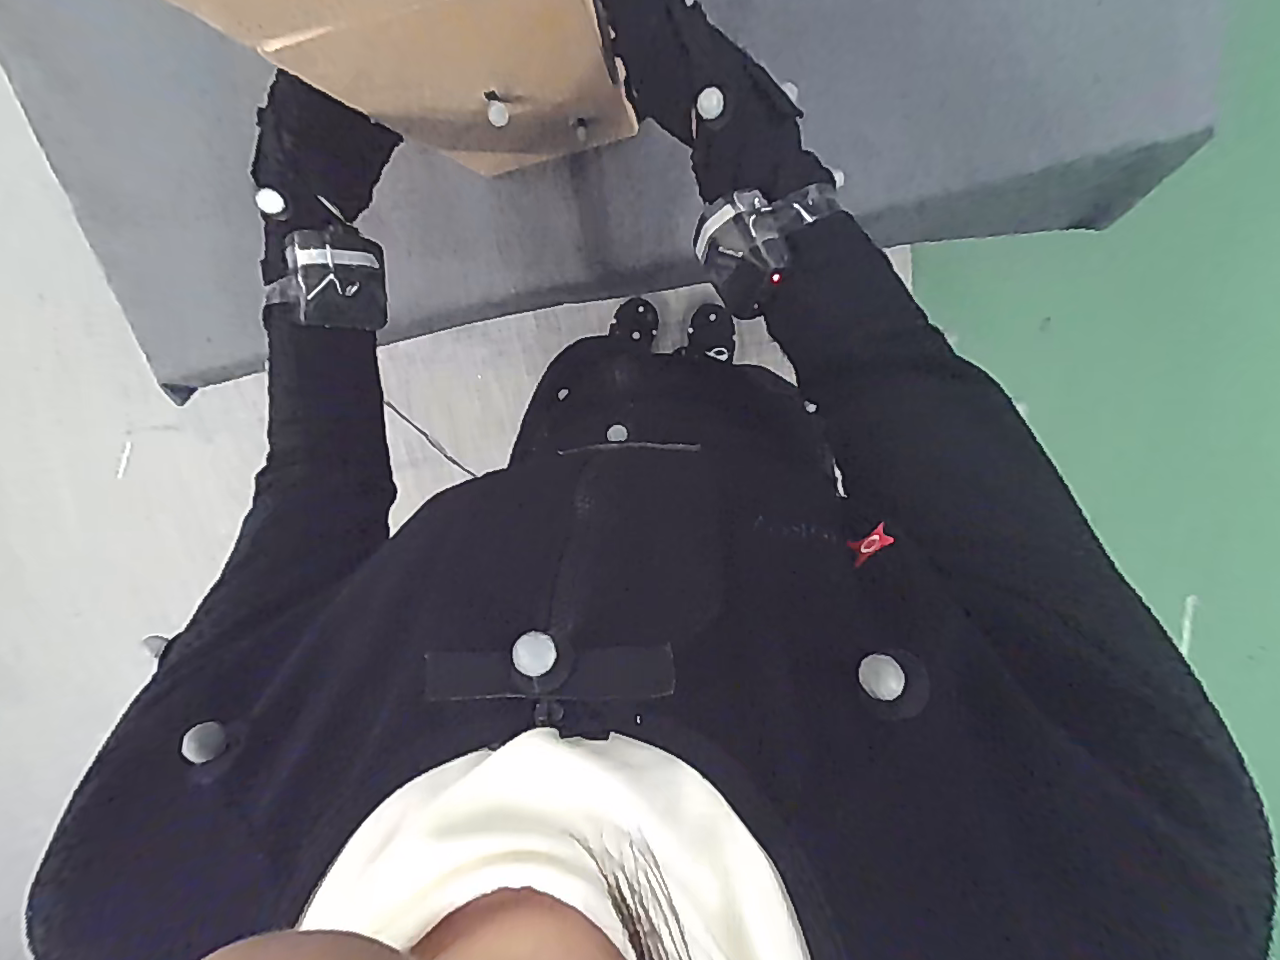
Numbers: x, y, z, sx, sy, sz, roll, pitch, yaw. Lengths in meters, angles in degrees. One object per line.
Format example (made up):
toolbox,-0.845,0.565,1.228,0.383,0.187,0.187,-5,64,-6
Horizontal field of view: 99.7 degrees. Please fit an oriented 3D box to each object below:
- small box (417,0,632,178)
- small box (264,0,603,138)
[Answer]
small box,-0.110,-0.397,0.487,0.179,0.176,0.168,-11,106,11
small box,-0.124,-0.341,0.333,0.179,0.176,0.168,-9,106,8
